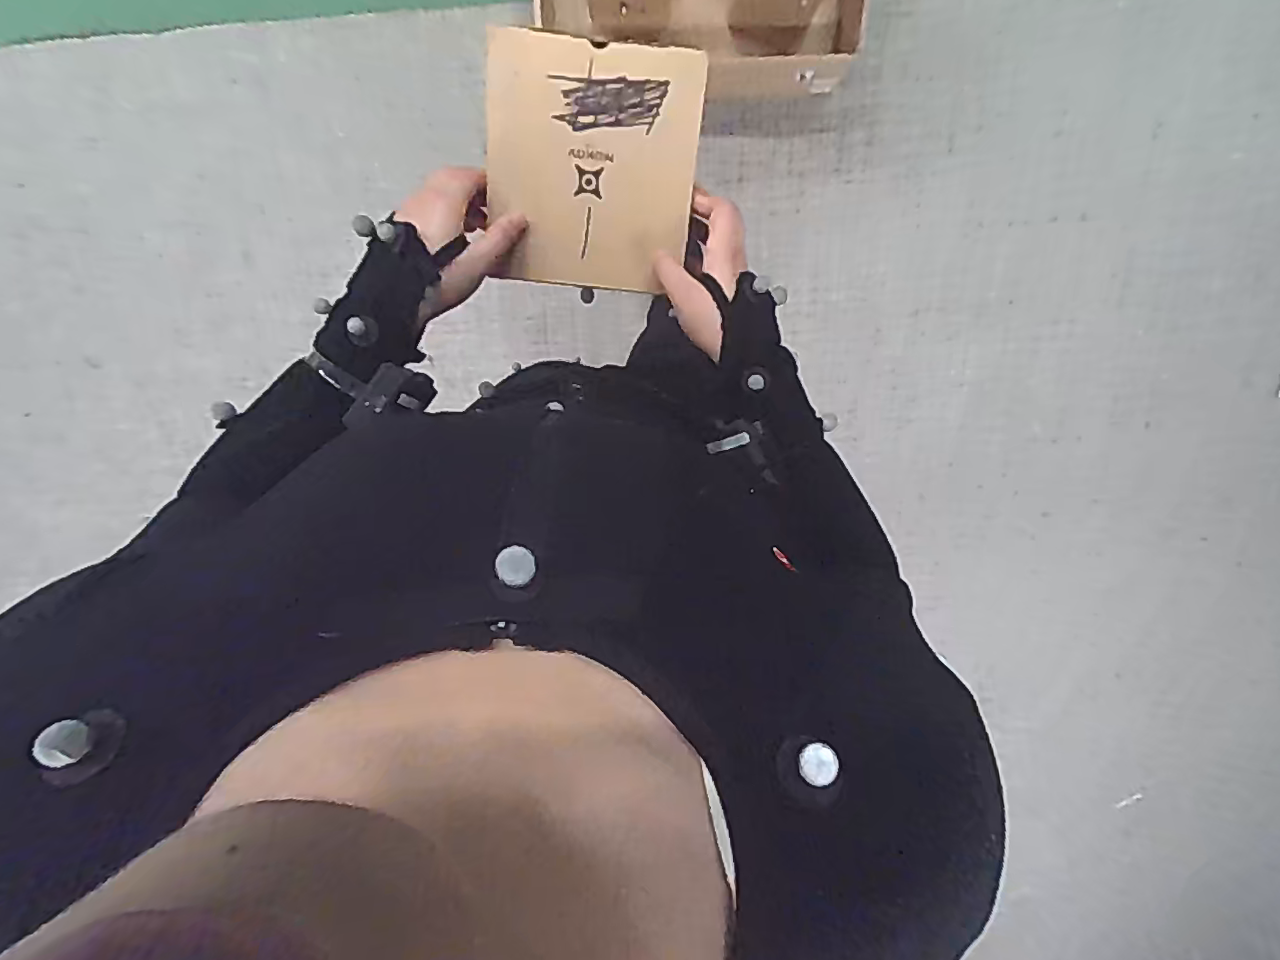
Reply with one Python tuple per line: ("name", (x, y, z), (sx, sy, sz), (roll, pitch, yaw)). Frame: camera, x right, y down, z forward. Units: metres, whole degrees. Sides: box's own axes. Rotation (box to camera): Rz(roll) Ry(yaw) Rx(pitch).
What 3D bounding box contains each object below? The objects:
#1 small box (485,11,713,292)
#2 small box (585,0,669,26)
("small box", (-0.038, -0.271, 0.492), (0.168, 0.176, 0.179), (5, 109, -3))
("small box", (-0.031, -0.997, 1.007), (0.168, 0.176, 0.179), (-5, 110, 3))
